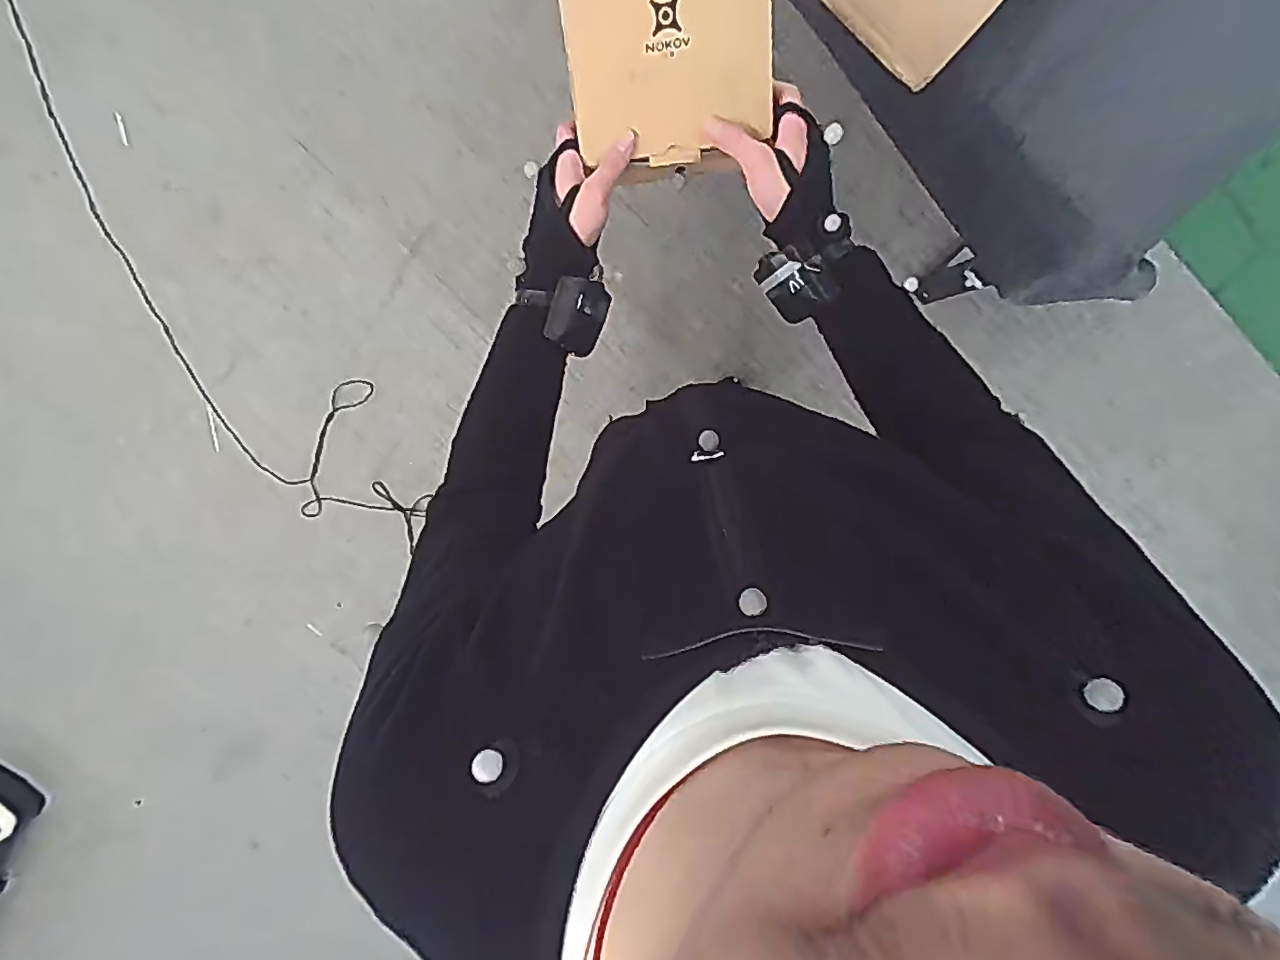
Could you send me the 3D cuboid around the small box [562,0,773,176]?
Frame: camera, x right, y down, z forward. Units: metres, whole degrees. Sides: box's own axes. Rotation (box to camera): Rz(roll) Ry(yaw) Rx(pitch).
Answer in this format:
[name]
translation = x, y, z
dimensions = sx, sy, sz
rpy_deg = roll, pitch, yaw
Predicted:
[small box]
translation = 0.031, -0.395, 0.504
dimensions = 0.168, 0.176, 0.179
rpy_deg = -5, 113, 10
